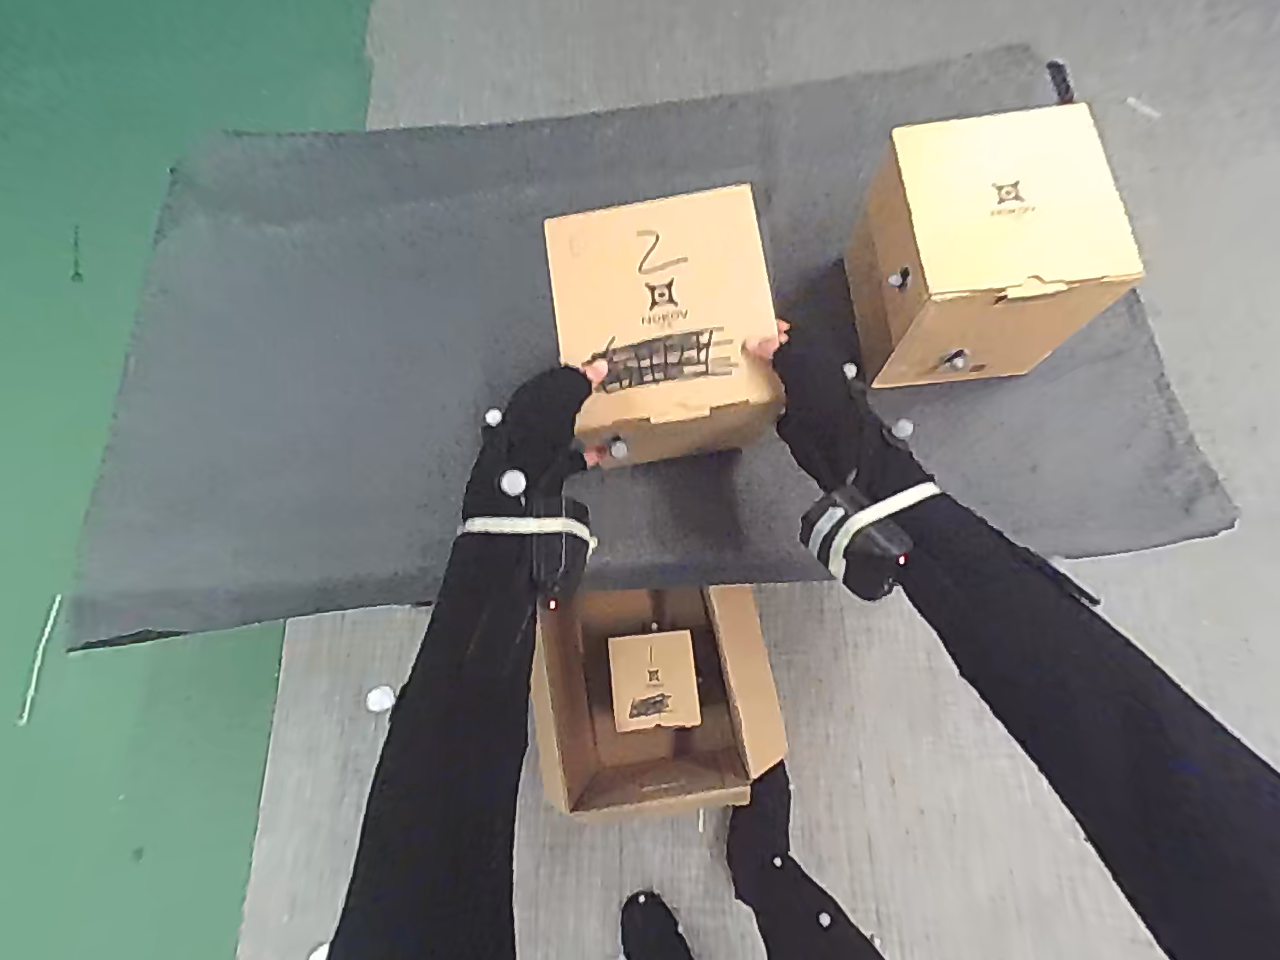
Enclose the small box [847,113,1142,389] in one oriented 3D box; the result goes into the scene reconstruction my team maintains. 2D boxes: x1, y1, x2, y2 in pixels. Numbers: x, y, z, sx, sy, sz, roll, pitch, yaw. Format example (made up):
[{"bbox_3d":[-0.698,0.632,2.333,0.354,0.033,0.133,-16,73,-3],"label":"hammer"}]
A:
[{"bbox_3d":[0.316,-0.209,0.529,0.168,0.176,0.179,-5,74,5],"label":"small box"}]
